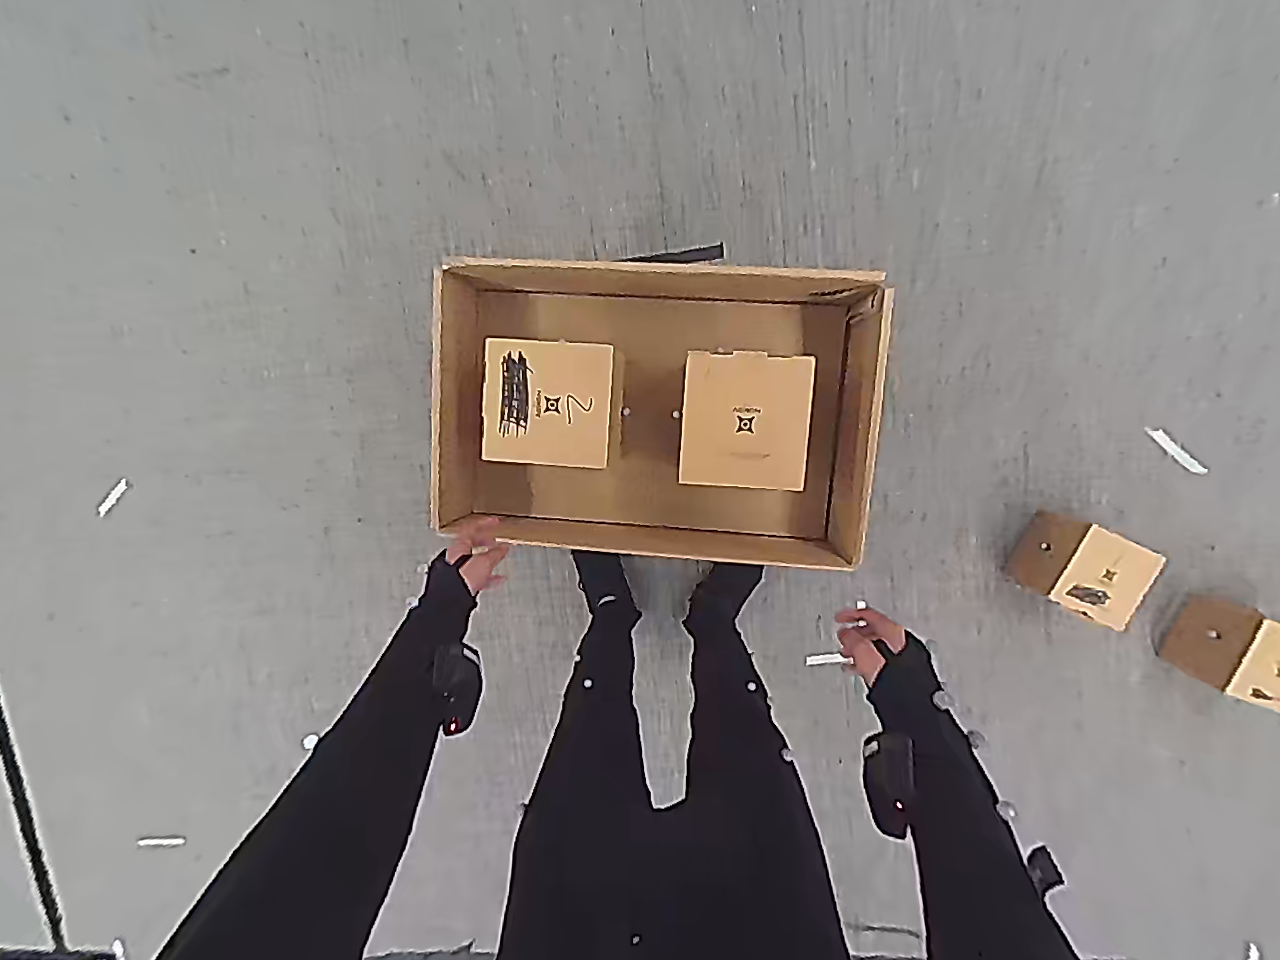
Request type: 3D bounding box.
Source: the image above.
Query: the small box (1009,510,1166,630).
[{"bbox_3d":[0.946,0.185,1.167,0.168,0.176,0.179,26,99,1],"label":"small box"}]

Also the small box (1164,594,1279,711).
[{"bbox_3d":[1.297,0.367,1.158,0.168,0.176,0.179,19,98,3],"label":"small box"}]

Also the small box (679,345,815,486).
[{"bbox_3d":[0.145,-0.091,0.781,0.168,0.176,0.179,4,96,6],"label":"small box"}]
